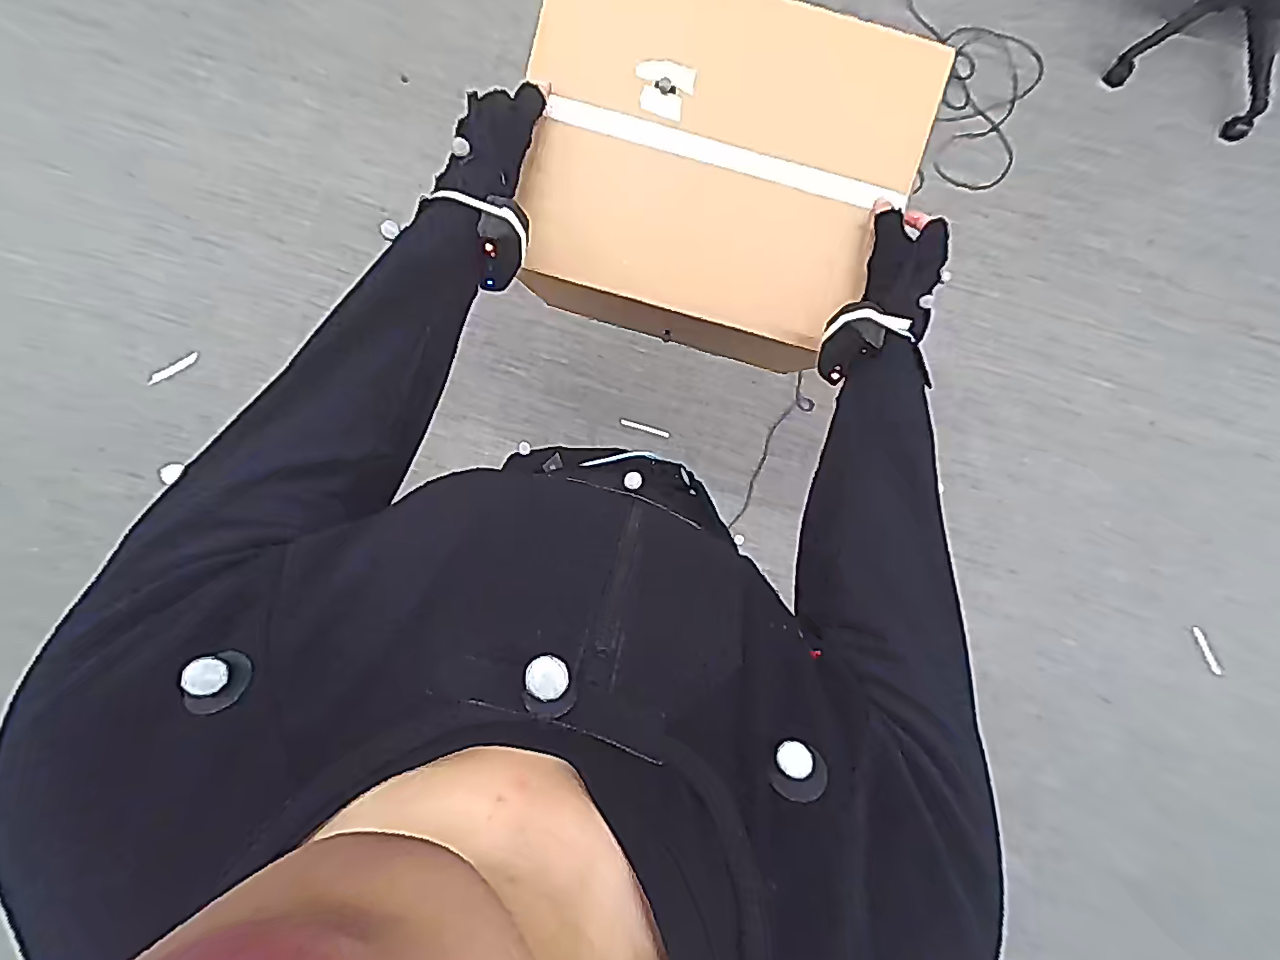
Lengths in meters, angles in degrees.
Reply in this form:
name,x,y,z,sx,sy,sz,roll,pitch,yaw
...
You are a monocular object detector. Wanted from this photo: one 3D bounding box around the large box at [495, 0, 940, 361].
name,x,y,z,sx,sy,sz,roll,pitch,yaw
large box,0.078,-0.358,0.707,0.408,0.320,0.320,16,98,0
